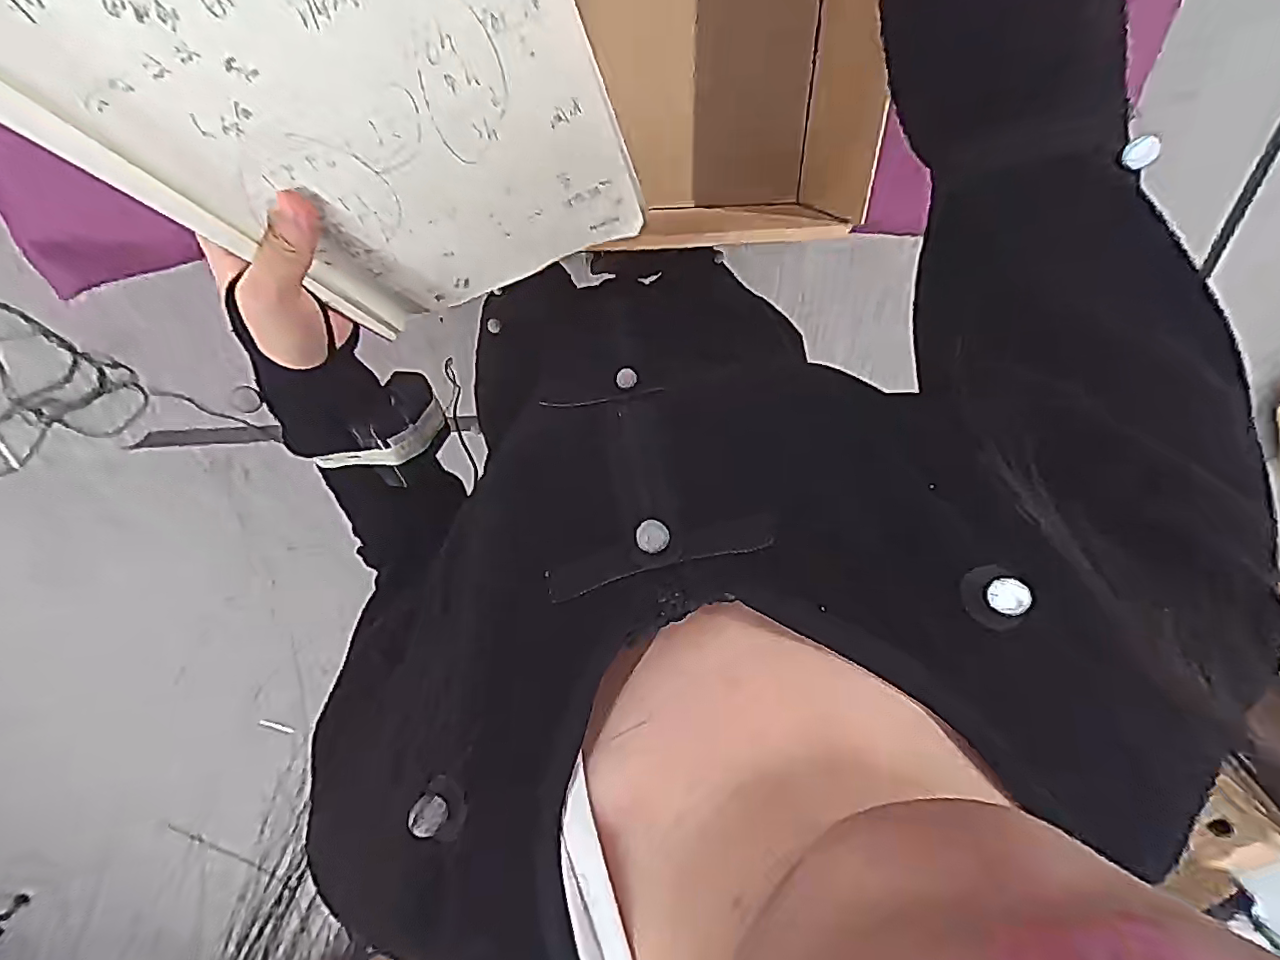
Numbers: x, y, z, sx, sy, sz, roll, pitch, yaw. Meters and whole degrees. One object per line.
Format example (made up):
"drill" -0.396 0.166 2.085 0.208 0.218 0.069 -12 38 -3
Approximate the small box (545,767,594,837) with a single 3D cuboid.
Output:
"small box" -0.264 1.199 2.024 0.168 0.176 0.179 -6 126 -4

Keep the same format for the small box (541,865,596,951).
"small box" -0.230 1.387 1.756 0.168 0.176 0.179 -5 125 -6
